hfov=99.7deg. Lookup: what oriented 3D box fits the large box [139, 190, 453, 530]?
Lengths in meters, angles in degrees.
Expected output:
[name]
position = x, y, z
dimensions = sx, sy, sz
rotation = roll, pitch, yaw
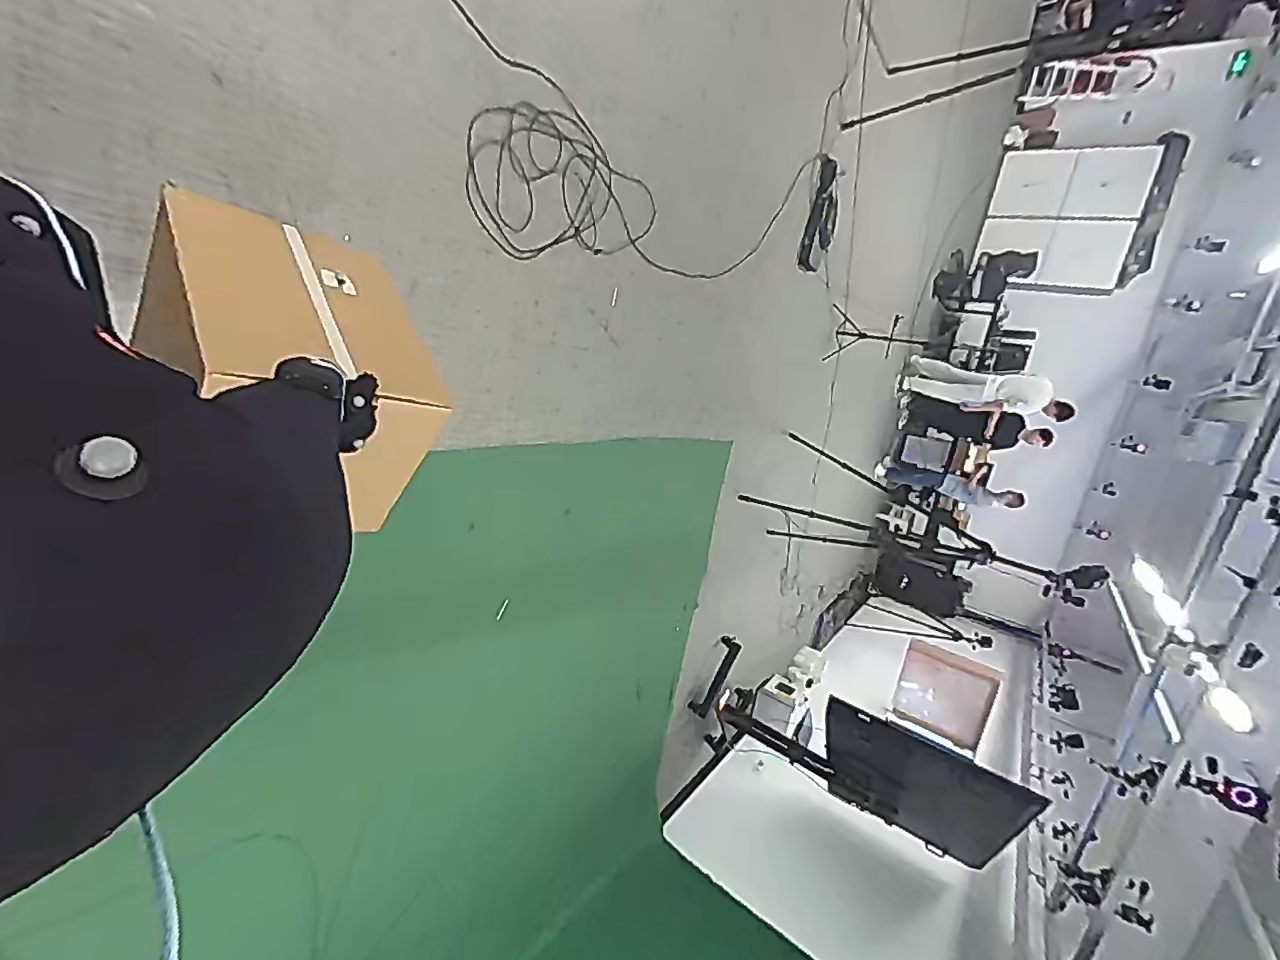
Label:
[large box]
position = -0.575, -0.171, 0.885
dimensions = 0.320, 0.408, 0.320
rotation = 4, 136, -52
